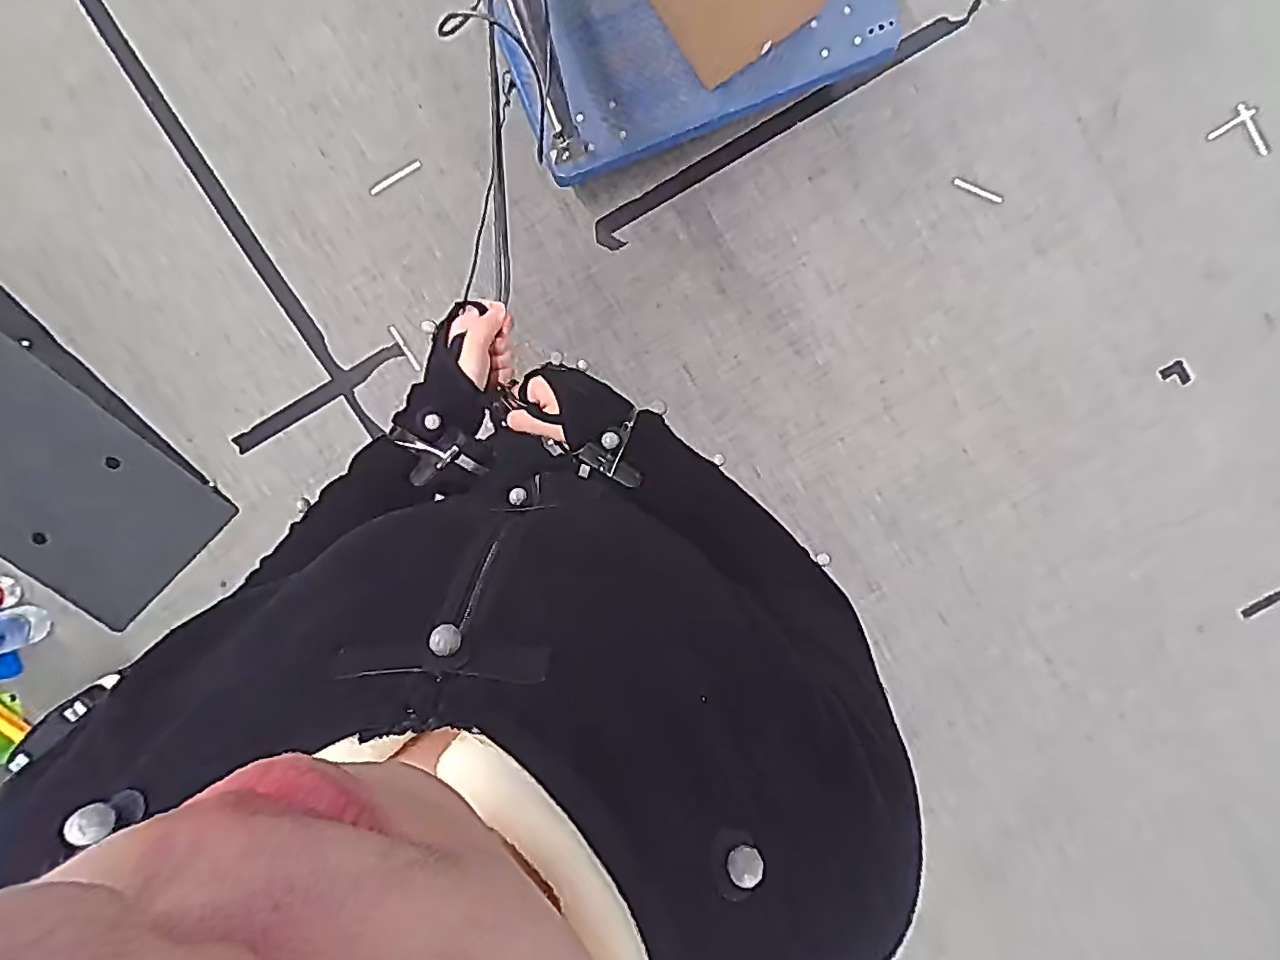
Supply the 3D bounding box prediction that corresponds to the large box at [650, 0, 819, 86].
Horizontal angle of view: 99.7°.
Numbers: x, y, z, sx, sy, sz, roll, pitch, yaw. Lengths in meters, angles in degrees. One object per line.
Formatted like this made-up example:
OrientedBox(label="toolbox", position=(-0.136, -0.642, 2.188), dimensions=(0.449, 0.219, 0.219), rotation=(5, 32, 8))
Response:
OrientedBox(label="large box", position=(0.169, -1.132, 1.074), dimensions=(0.320, 0.320, 0.408), rotation=(-36, 95, 2))
